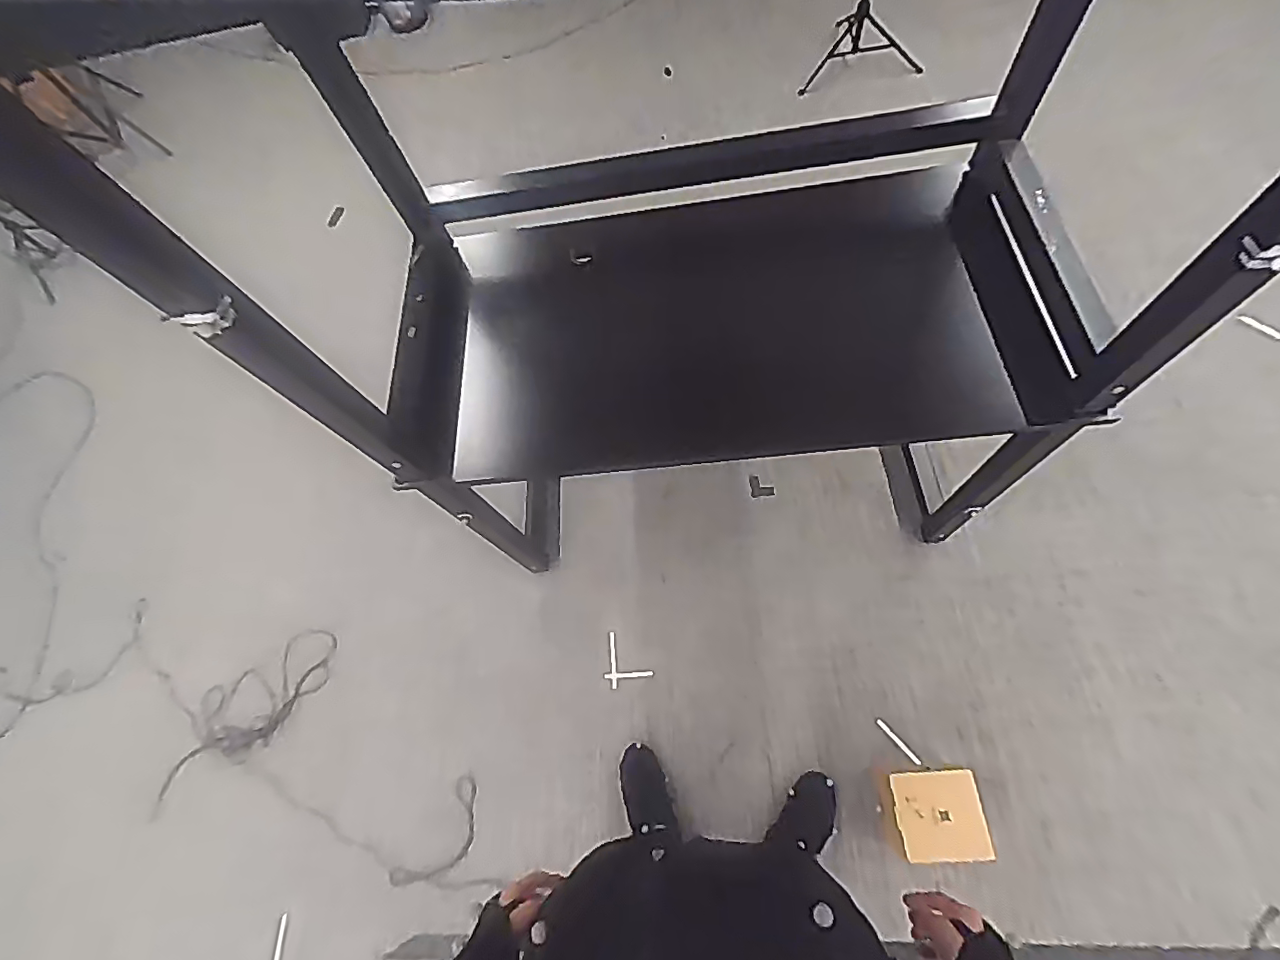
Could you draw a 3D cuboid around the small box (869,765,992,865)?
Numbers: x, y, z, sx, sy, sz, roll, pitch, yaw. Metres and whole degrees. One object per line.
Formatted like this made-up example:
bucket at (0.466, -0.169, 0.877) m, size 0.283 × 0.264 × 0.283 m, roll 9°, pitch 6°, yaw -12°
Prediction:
small box at (0.635, 0.739, 1.205) m, size 0.179 × 0.176 × 0.168 m, roll -6°, pitch 66°, yaw 7°
